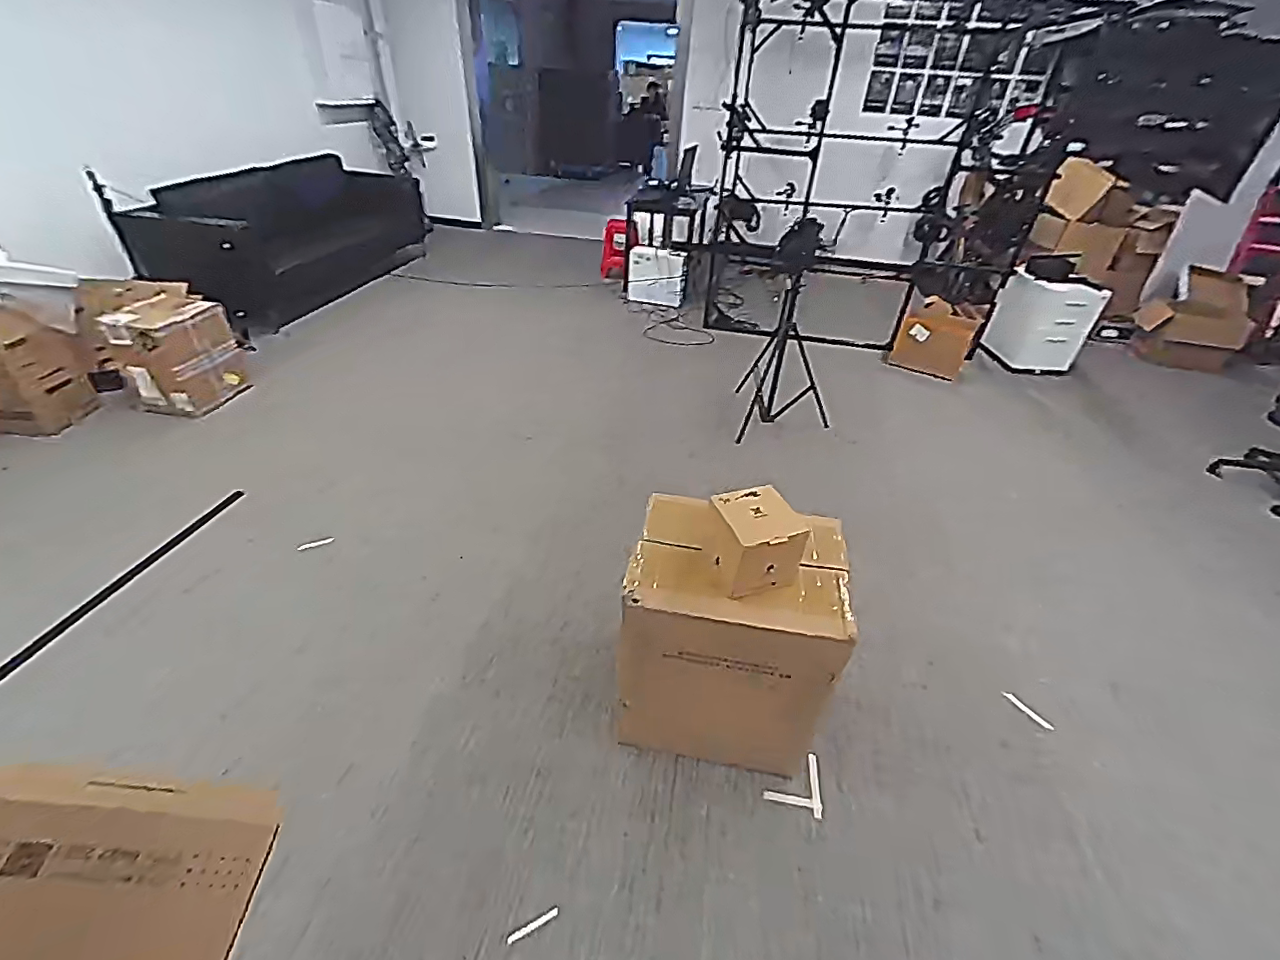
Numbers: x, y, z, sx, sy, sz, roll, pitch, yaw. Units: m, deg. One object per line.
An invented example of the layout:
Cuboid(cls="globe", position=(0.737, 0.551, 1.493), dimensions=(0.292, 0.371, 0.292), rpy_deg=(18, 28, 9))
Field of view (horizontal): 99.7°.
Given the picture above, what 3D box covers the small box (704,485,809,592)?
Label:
Cuboid(cls="small box", position=(0.261, 0.140, 1.254), dimensions=(0.168, 0.176, 0.179), rpy_deg=(-11, 40, -17))
